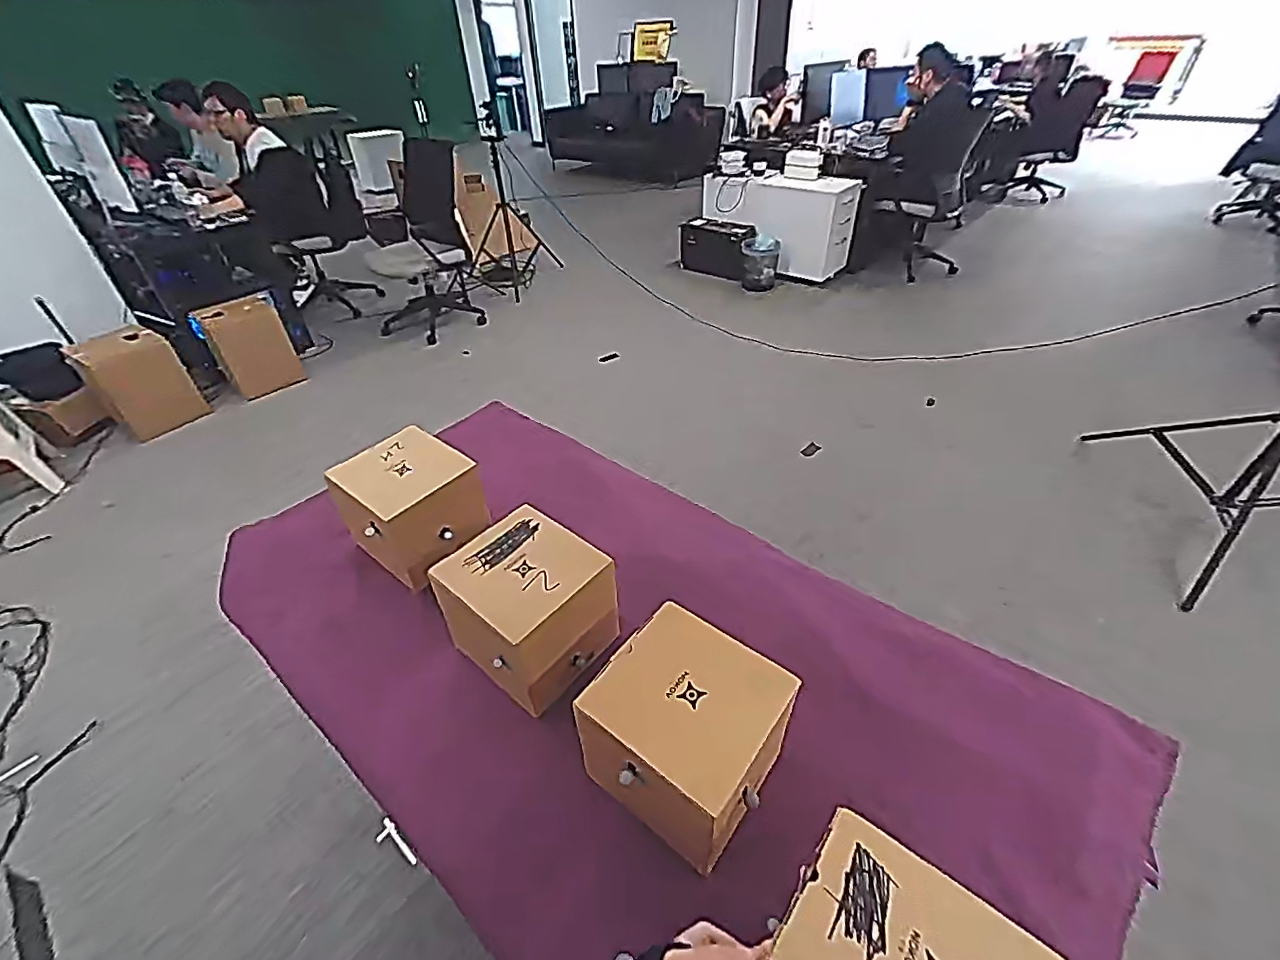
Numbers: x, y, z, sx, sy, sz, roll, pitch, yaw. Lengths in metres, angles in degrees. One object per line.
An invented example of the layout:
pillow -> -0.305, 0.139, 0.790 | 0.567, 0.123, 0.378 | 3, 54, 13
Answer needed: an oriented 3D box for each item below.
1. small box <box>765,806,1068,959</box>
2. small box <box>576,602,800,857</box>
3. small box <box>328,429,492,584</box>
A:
small box -> 0.181, 0.403, 0.397 | 0.179, 0.176, 0.168 | 25, 22, 31
small box -> 0.054, 0.280, 0.607 | 0.179, 0.176, 0.168 | 25, 47, 30
small box -> -0.372, 0.047, 0.904 | 0.179, 0.176, 0.168 | 27, 47, 28
